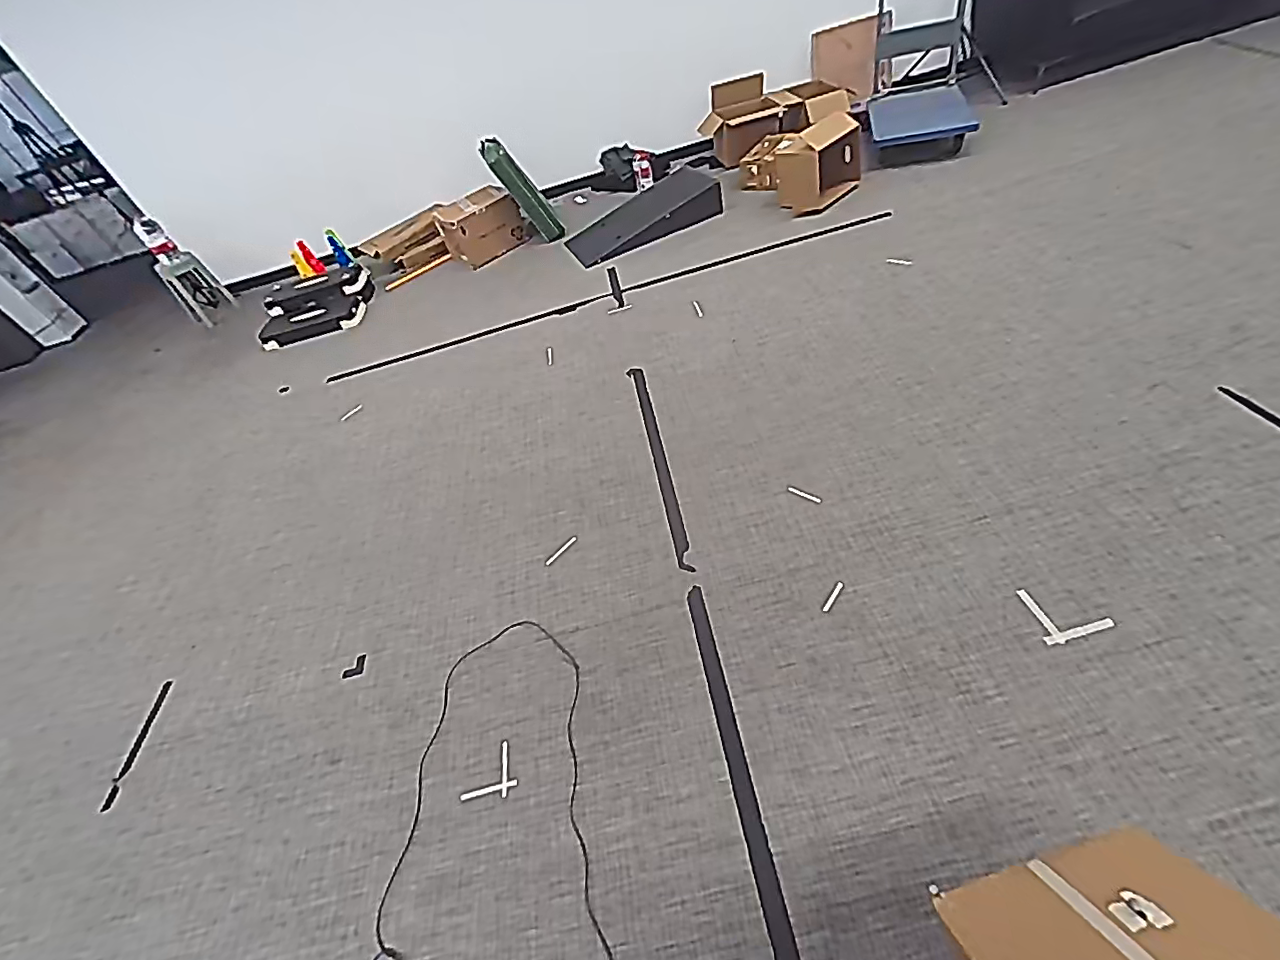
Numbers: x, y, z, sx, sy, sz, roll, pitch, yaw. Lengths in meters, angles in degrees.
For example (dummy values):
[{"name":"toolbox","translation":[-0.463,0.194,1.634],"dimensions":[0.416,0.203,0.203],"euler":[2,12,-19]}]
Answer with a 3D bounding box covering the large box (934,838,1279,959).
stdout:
[{"name":"large box","translation":[0.611,0.685,0.570],"dimensions":[0.320,0.408,0.320],"euler":[-19,82,1]}]
